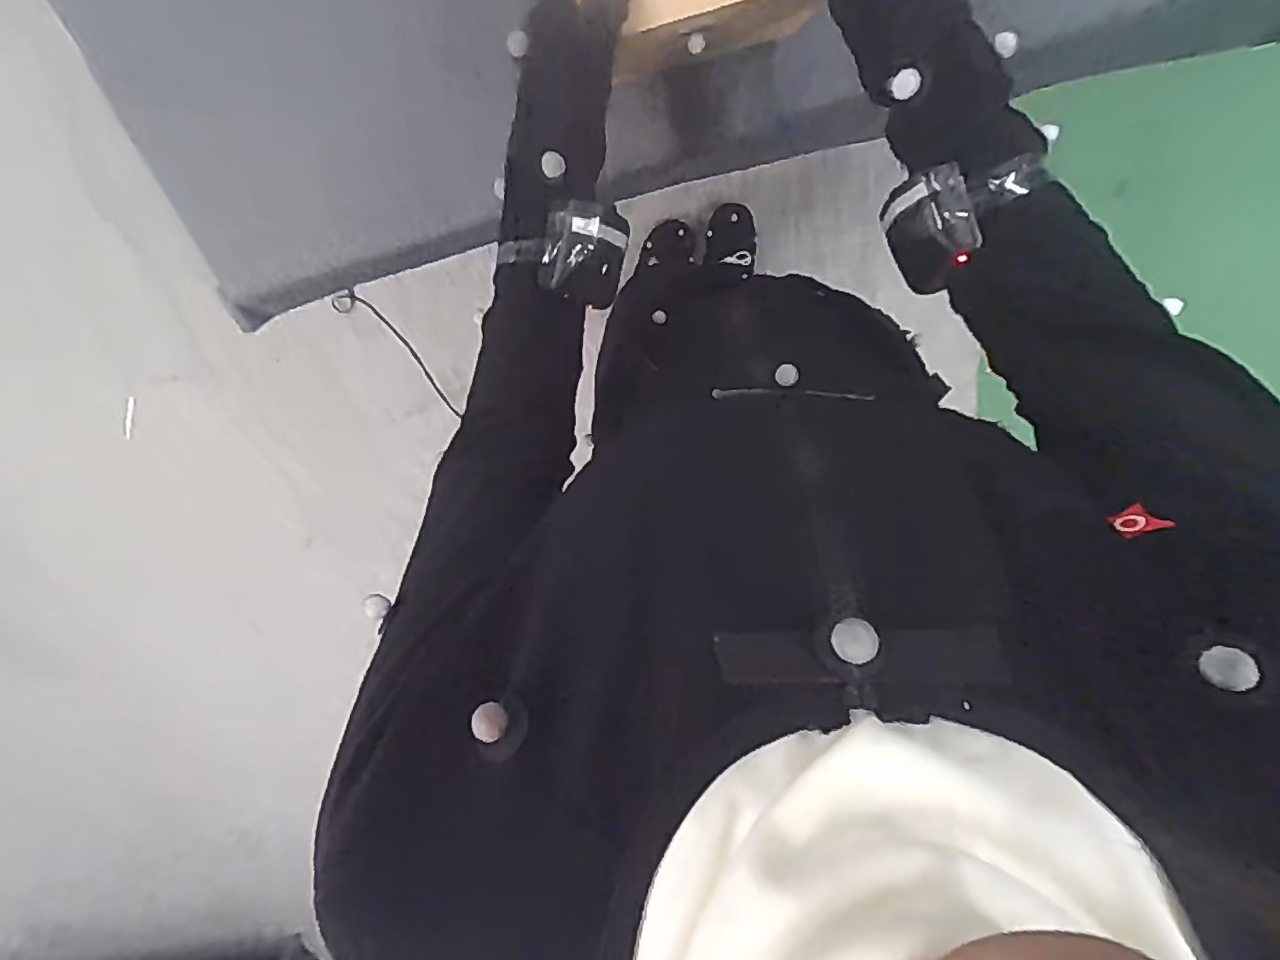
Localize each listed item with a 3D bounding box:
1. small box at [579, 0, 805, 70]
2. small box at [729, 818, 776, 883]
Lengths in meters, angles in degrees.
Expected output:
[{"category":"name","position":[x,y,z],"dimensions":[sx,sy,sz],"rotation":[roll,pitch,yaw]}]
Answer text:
[{"category":"small box","position":[0.035,-0.419,0.382],"dimensions":[0.179,0.176,0.168],"rotation":[-10,119,7]},{"category":"small box","position":[0.472,1.550,2.261],"dimensions":[0.179,0.176,0.168],"rotation":[-10,117,7]}]
